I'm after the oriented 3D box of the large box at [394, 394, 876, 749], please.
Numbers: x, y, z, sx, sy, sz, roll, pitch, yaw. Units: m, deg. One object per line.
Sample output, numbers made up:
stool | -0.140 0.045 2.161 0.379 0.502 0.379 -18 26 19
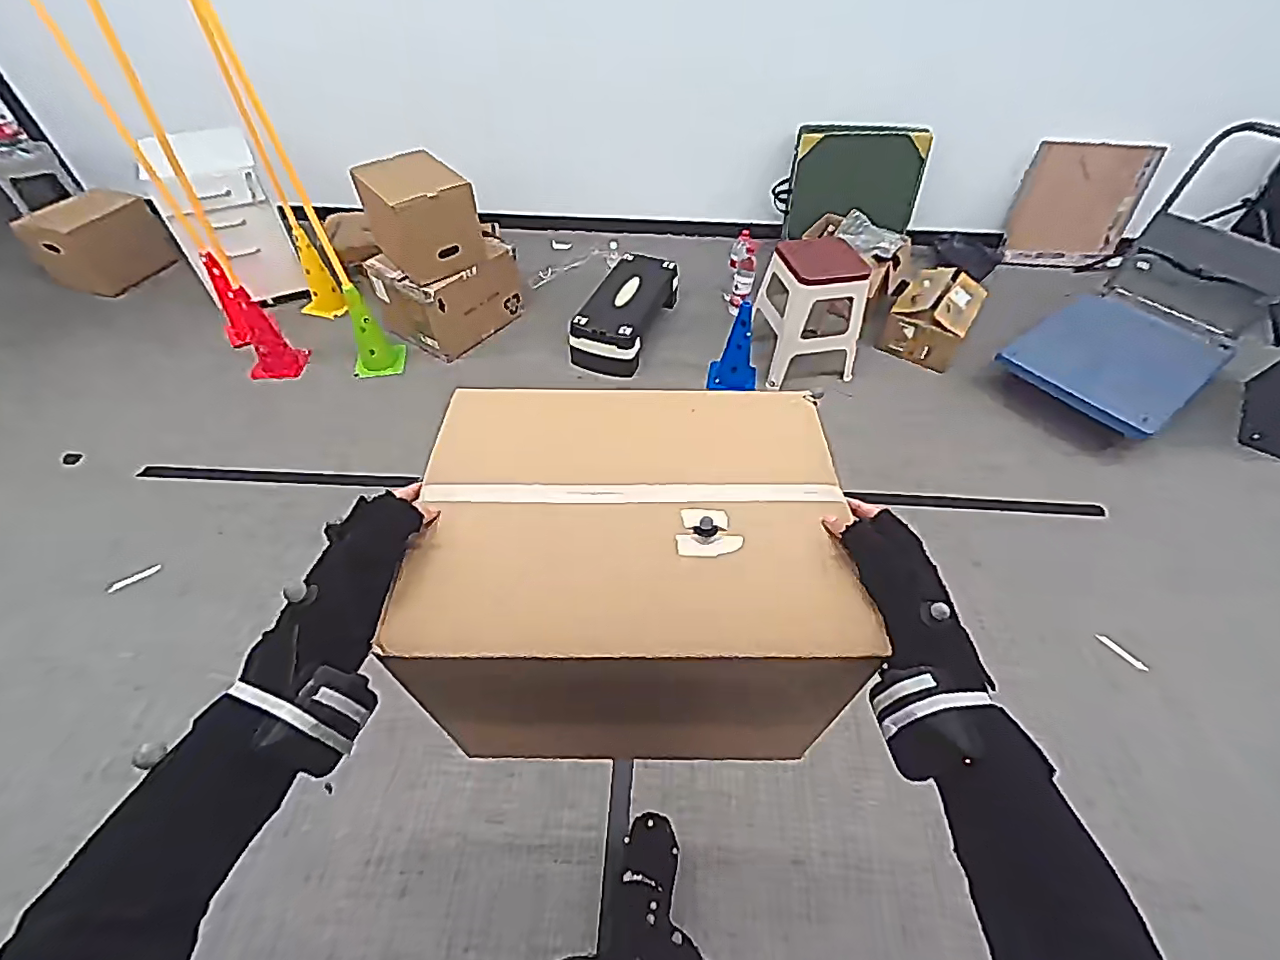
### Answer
large box | -0.007 0.113 0.645 0.408 0.320 0.320 1 50 0
